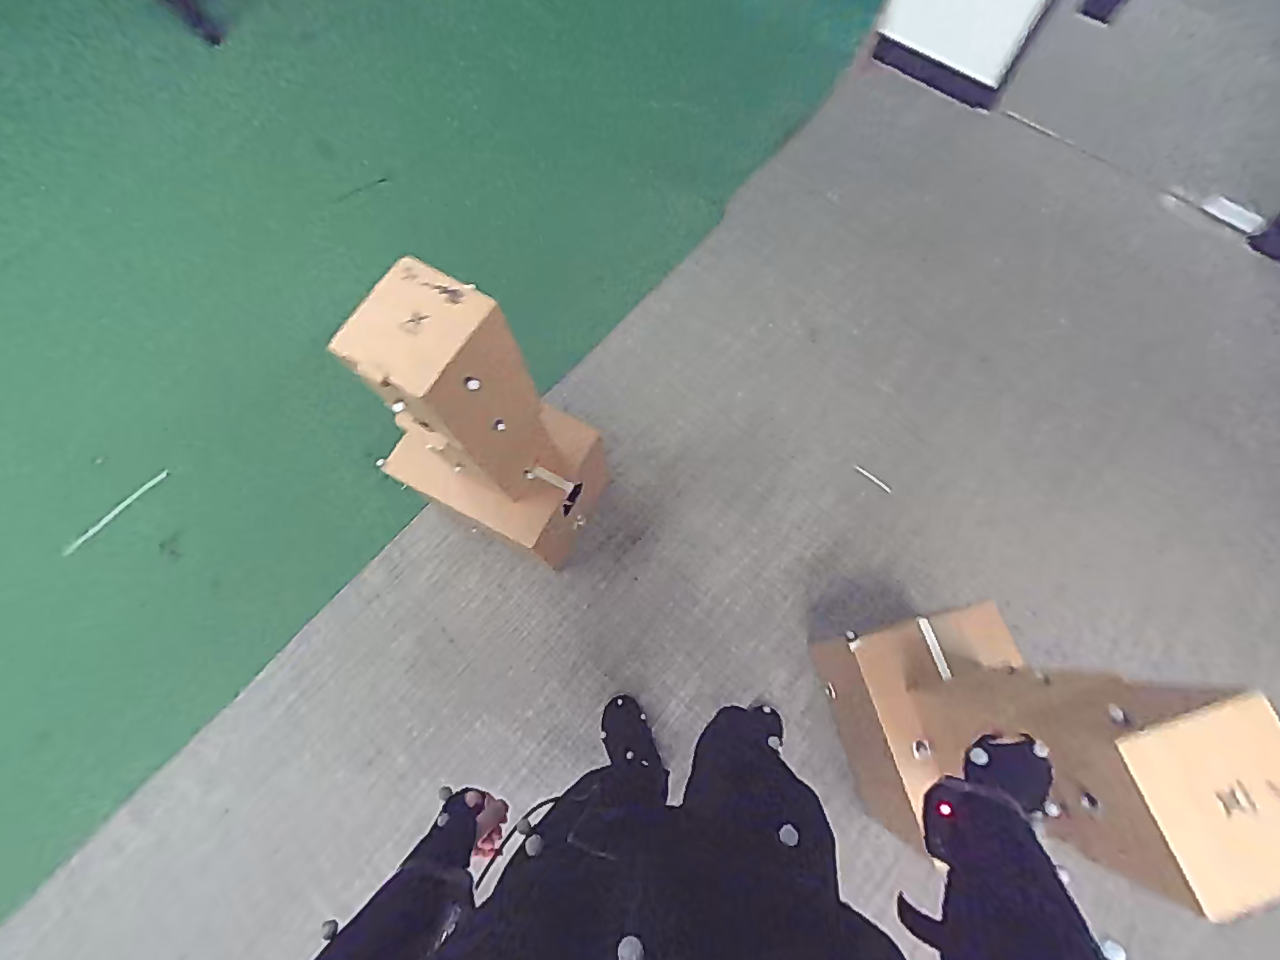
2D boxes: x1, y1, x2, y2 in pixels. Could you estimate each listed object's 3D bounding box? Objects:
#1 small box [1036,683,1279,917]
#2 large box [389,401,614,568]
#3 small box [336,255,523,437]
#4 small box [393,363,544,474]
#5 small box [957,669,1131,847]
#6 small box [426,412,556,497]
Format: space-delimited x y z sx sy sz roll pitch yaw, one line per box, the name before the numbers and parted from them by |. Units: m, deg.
small box | 0.600 0.340 0.613 0.179 0.176 0.168 -16 74 -4
large box | -0.318 -0.017 1.366 0.408 0.320 0.320 25 73 11
small box | -0.301 -0.191 0.819 0.168 0.176 0.179 30 77 11
small box | -0.294 -0.135 0.974 0.168 0.176 0.179 31 76 11
small box | 0.600 0.381 0.774 0.168 0.176 0.179 -16 73 -3
small box | -0.300 -0.085 1.130 0.179 0.176 0.168 29 76 10
